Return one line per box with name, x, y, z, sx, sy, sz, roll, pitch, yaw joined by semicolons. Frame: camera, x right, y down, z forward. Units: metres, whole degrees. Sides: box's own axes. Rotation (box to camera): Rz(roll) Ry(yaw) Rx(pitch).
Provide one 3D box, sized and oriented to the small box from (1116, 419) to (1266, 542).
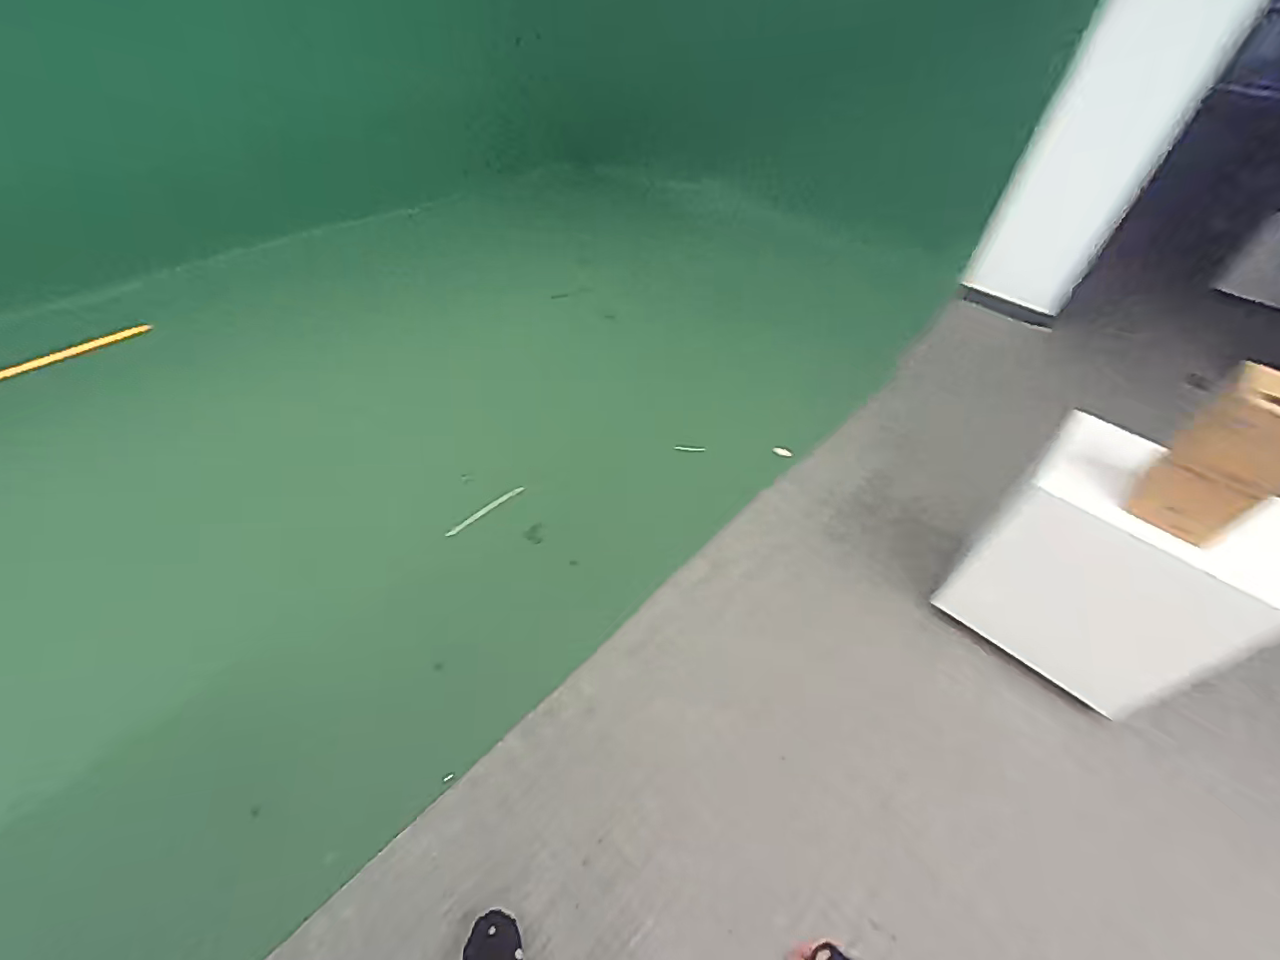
small box;1.213;0.000;1.200;0.168;0.176;0.179;35;53;26
